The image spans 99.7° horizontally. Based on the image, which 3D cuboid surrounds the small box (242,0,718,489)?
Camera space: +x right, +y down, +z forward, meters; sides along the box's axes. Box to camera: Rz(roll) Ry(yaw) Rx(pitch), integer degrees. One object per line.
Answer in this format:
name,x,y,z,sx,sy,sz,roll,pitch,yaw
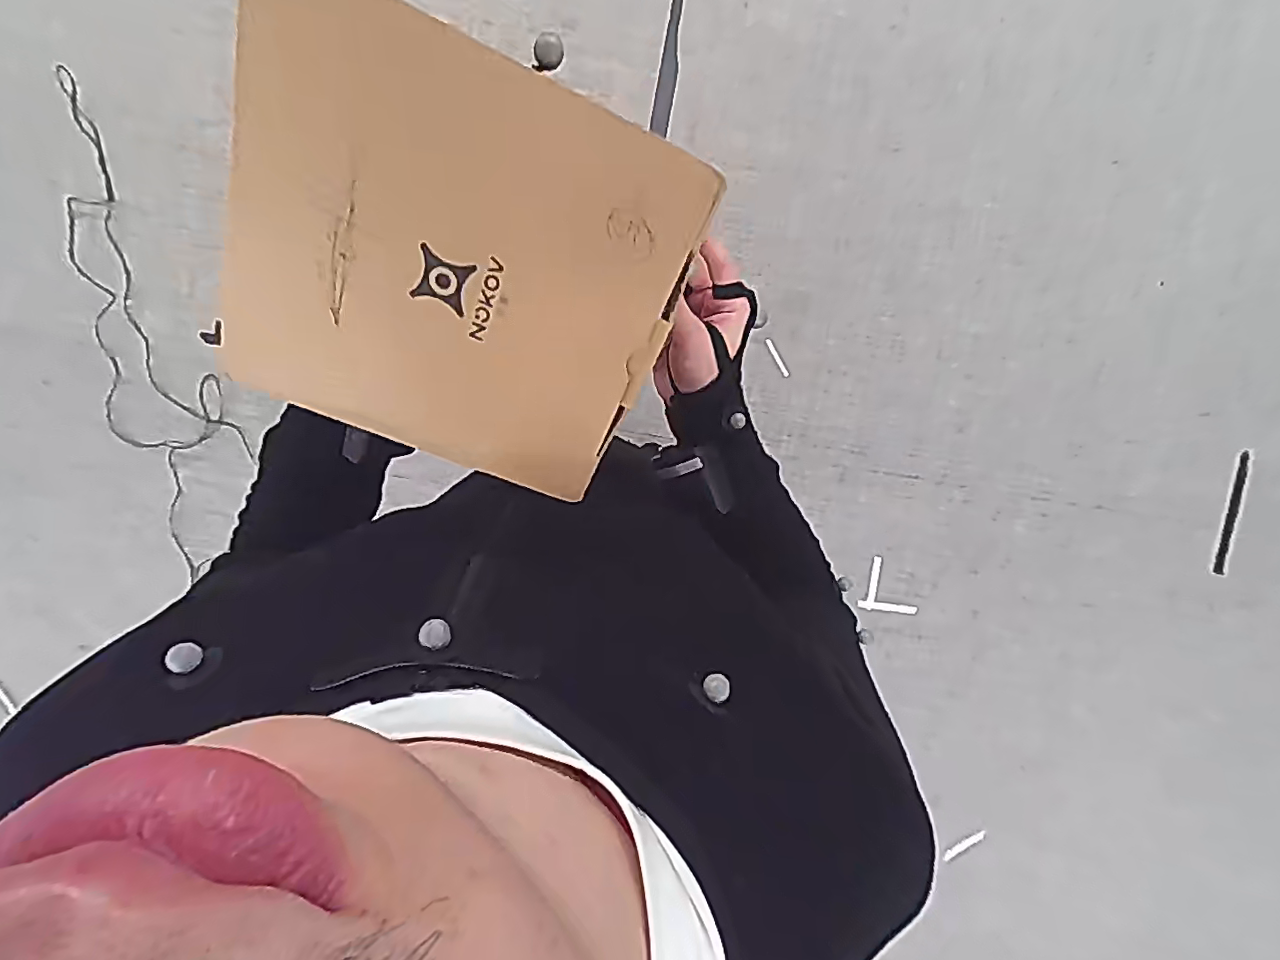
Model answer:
small box,-0.078,-0.128,0.306,0.179,0.176,0.168,21,118,-12
